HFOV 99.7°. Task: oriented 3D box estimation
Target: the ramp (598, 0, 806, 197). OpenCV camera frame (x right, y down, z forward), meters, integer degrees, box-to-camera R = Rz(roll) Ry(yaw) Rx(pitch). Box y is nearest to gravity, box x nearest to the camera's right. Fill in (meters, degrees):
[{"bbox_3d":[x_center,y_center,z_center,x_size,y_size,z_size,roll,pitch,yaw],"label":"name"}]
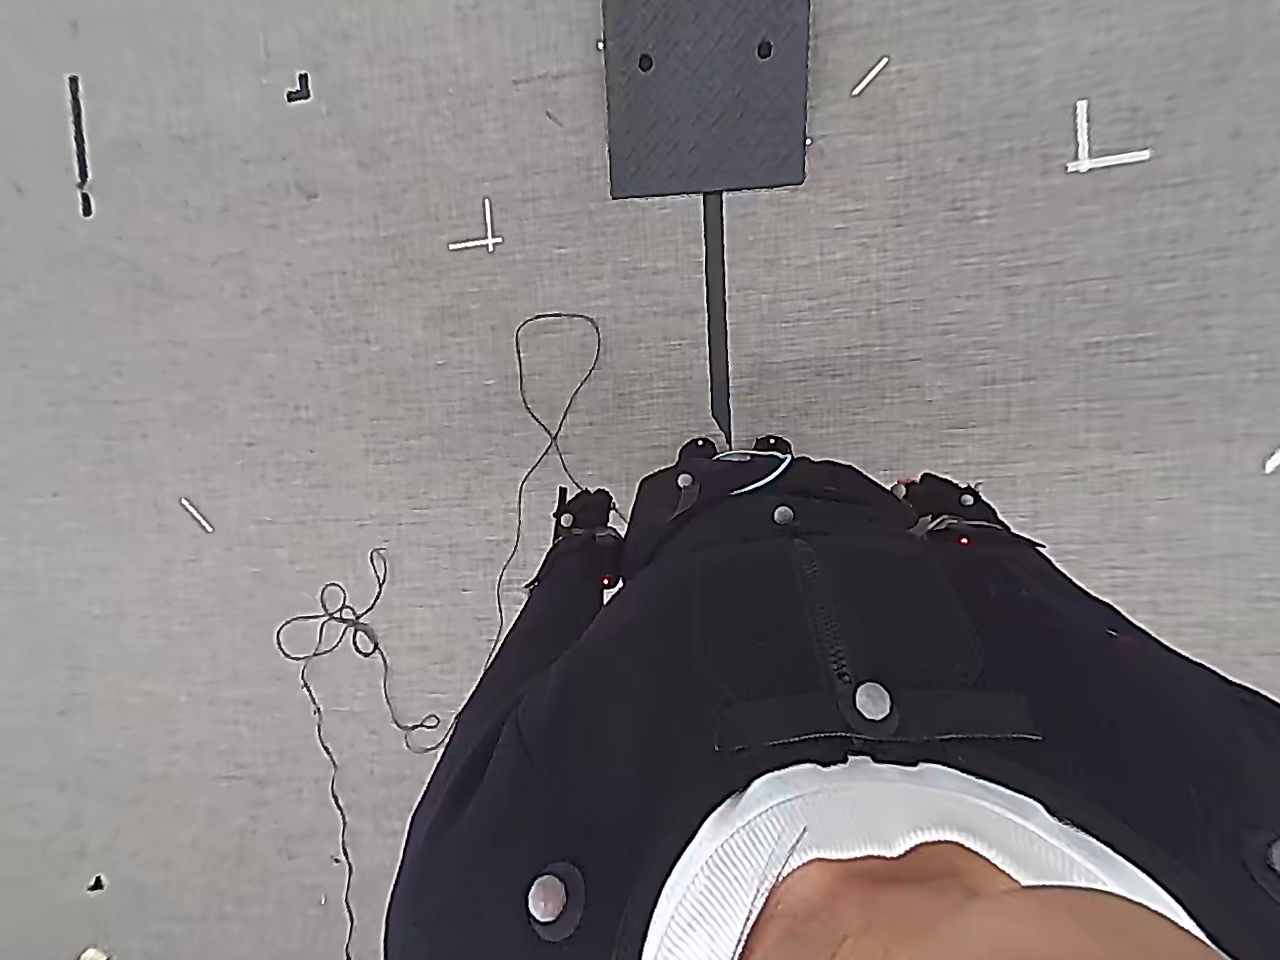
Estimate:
[{"bbox_3d":[0.139,-1.223,1.253,0.509,0.206,0.991,-2,95,7],"label":"ramp"}]
